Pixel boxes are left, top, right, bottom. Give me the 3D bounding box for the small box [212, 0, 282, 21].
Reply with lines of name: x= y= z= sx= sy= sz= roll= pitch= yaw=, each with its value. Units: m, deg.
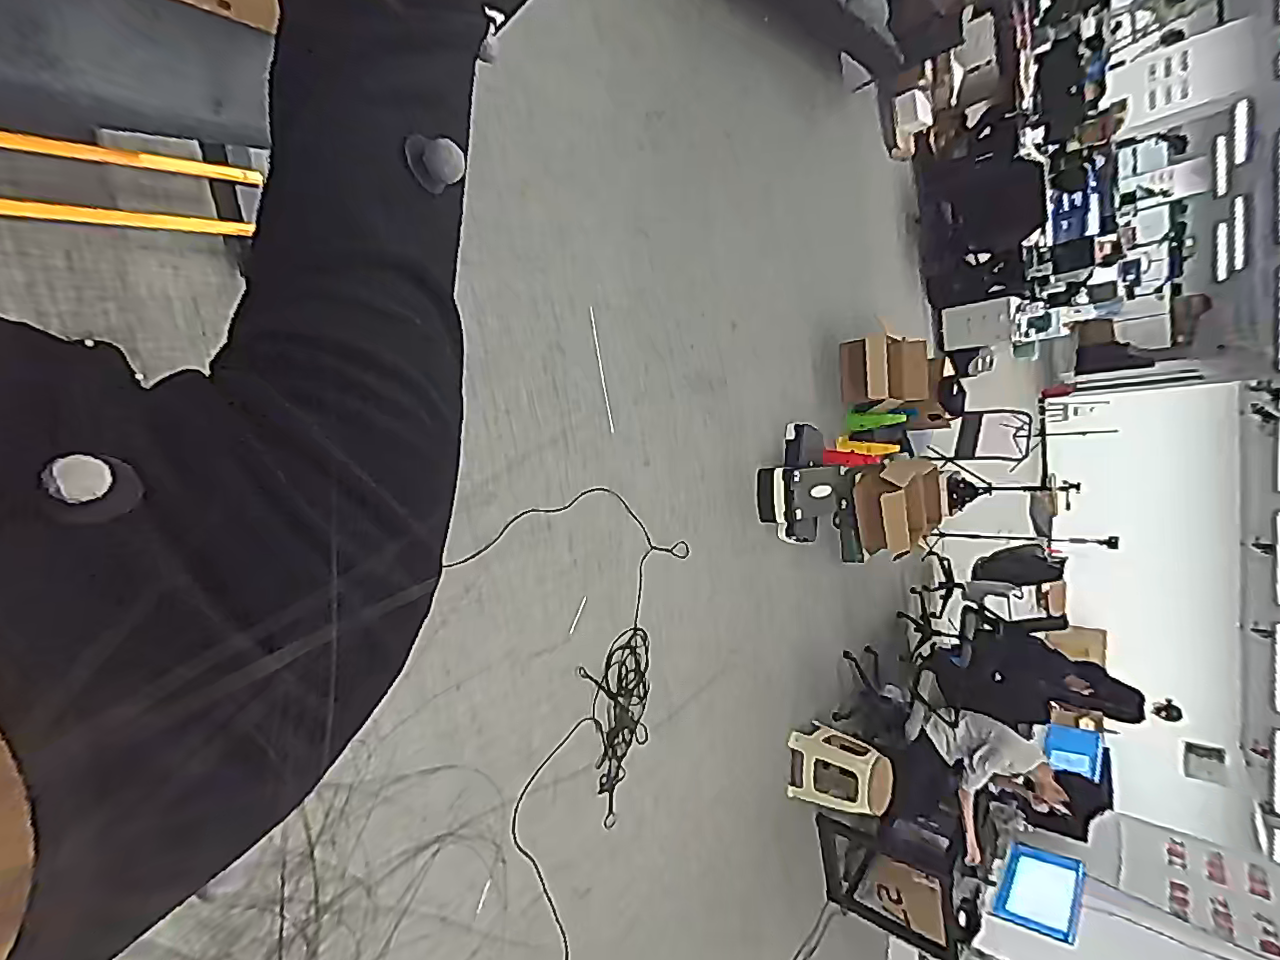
small box: x=-0.463 y=-0.635 z=0.553 sx=0.168 sy=0.176 sz=0.179 roll=-14 pitch=98 yaw=-46
